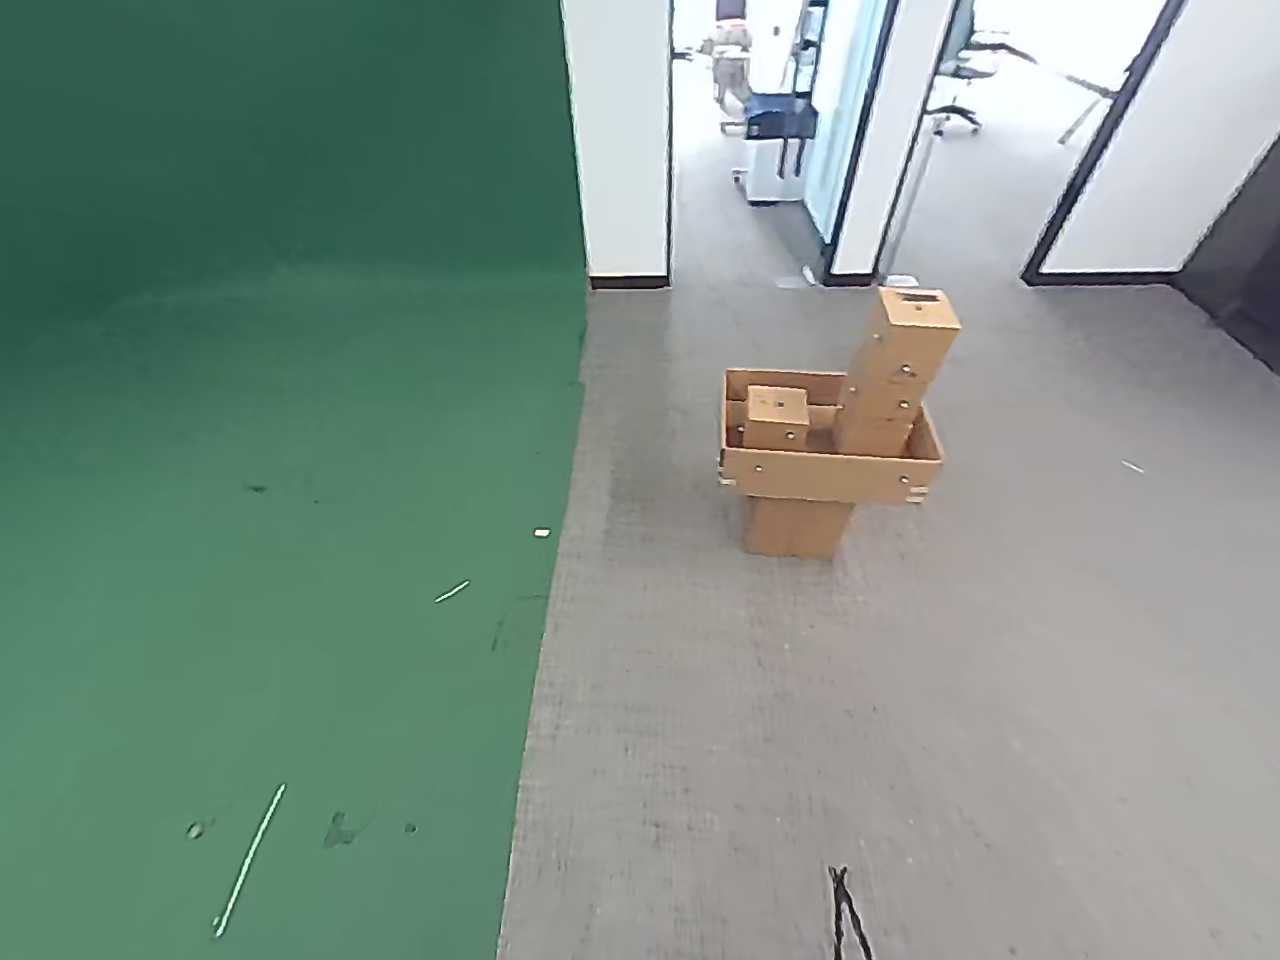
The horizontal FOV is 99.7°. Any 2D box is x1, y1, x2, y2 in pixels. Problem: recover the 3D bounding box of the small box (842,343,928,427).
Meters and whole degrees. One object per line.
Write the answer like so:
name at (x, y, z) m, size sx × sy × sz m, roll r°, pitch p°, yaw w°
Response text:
small box at (0.686, -0.267, 1.535) m, size 0.168 × 0.176 × 0.179 m, roll 5°, pitch 48°, yaw 4°
